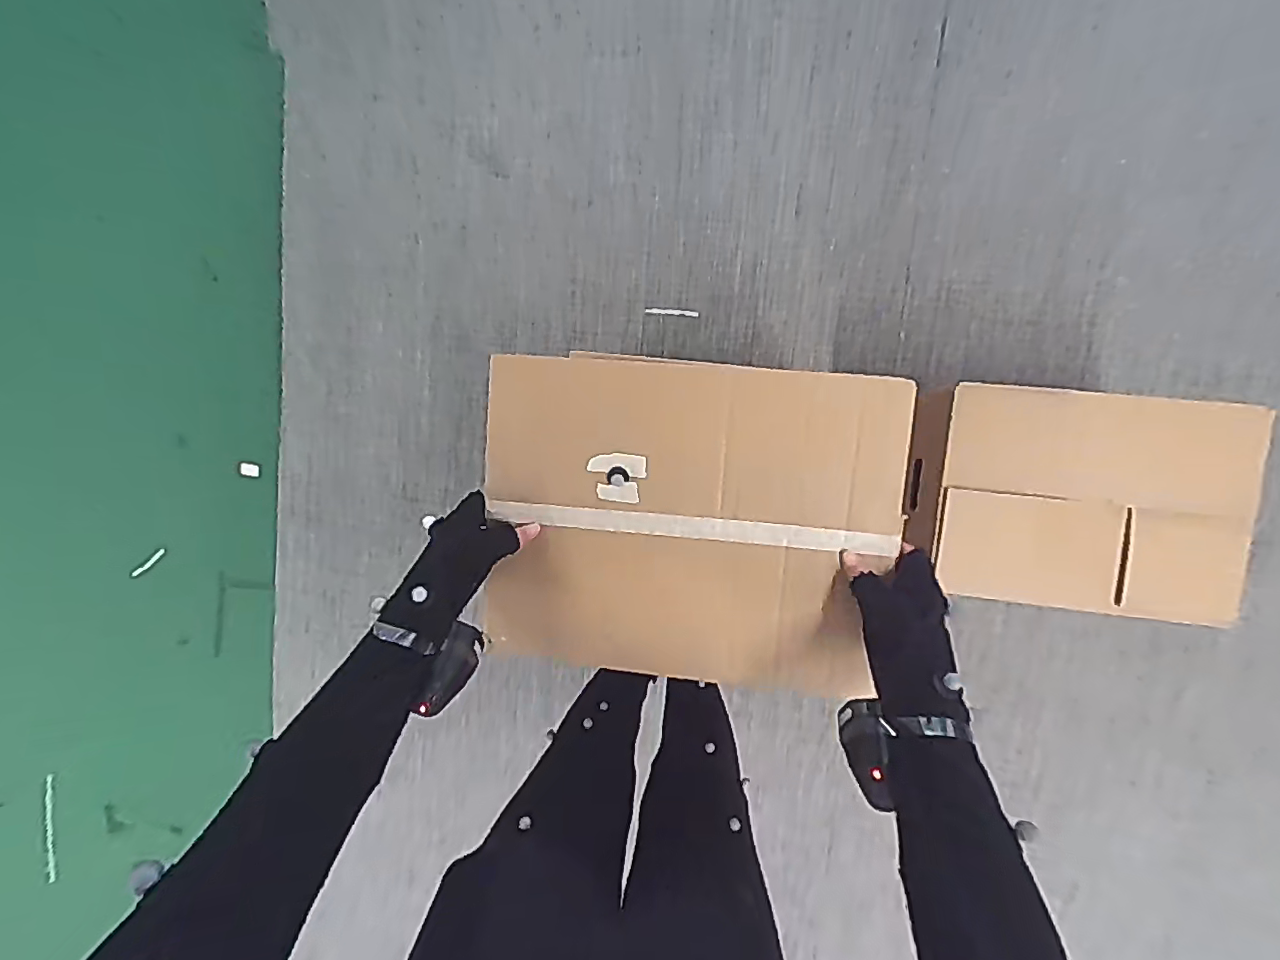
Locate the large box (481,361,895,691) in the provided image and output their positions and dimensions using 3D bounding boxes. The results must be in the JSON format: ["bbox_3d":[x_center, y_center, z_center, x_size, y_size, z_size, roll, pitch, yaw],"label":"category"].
[{"bbox_3d":[0.055,0.026,0.685,0.408,0.320,0.320,5,97,8],"label":"large box"}]
